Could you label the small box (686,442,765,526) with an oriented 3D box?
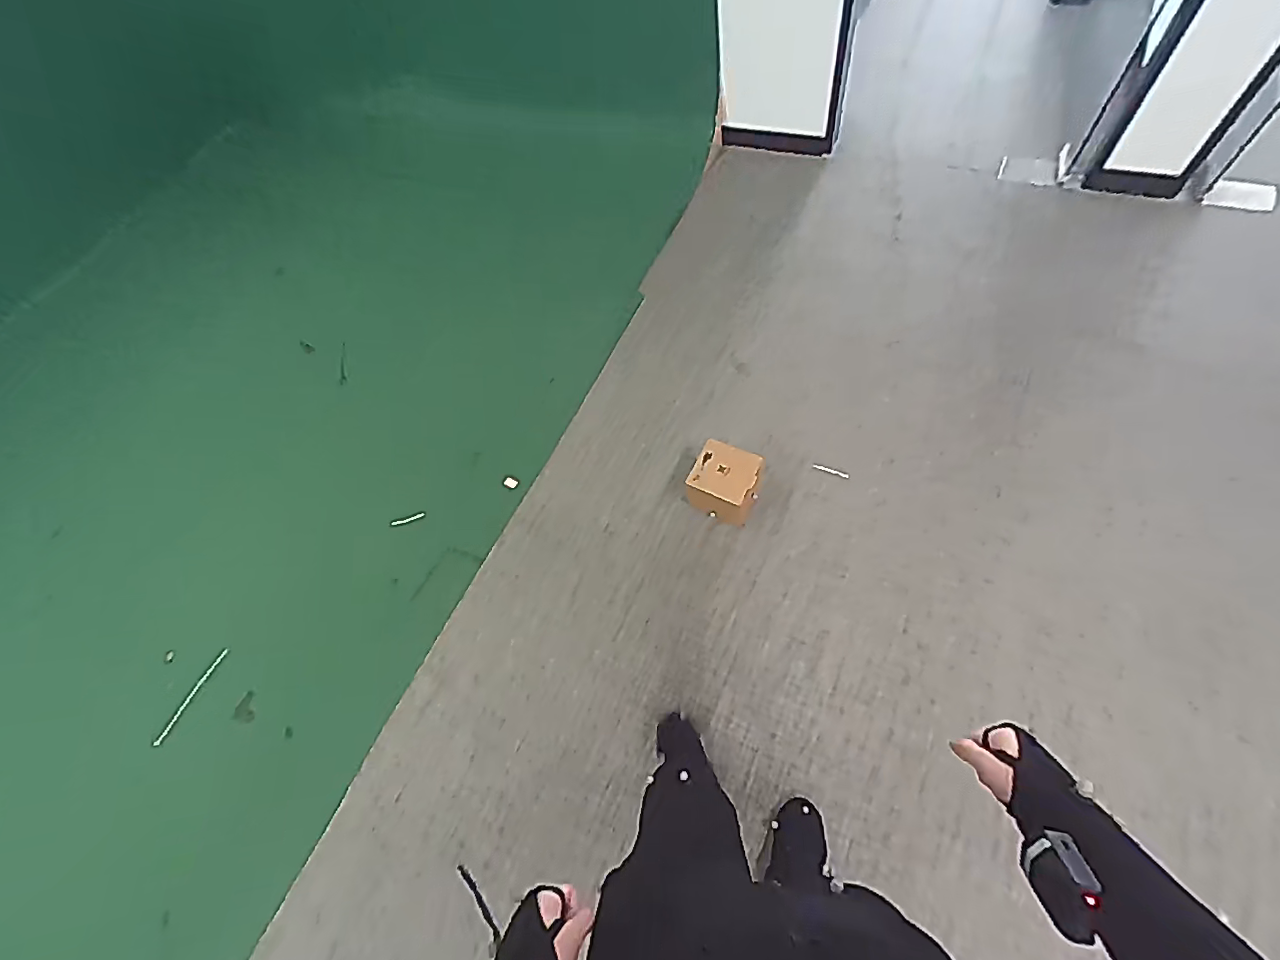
[{"bbox_3d":[0.257,0.018,1.610,0.179,0.176,0.168,24,70,20],"label":"small box"}]
